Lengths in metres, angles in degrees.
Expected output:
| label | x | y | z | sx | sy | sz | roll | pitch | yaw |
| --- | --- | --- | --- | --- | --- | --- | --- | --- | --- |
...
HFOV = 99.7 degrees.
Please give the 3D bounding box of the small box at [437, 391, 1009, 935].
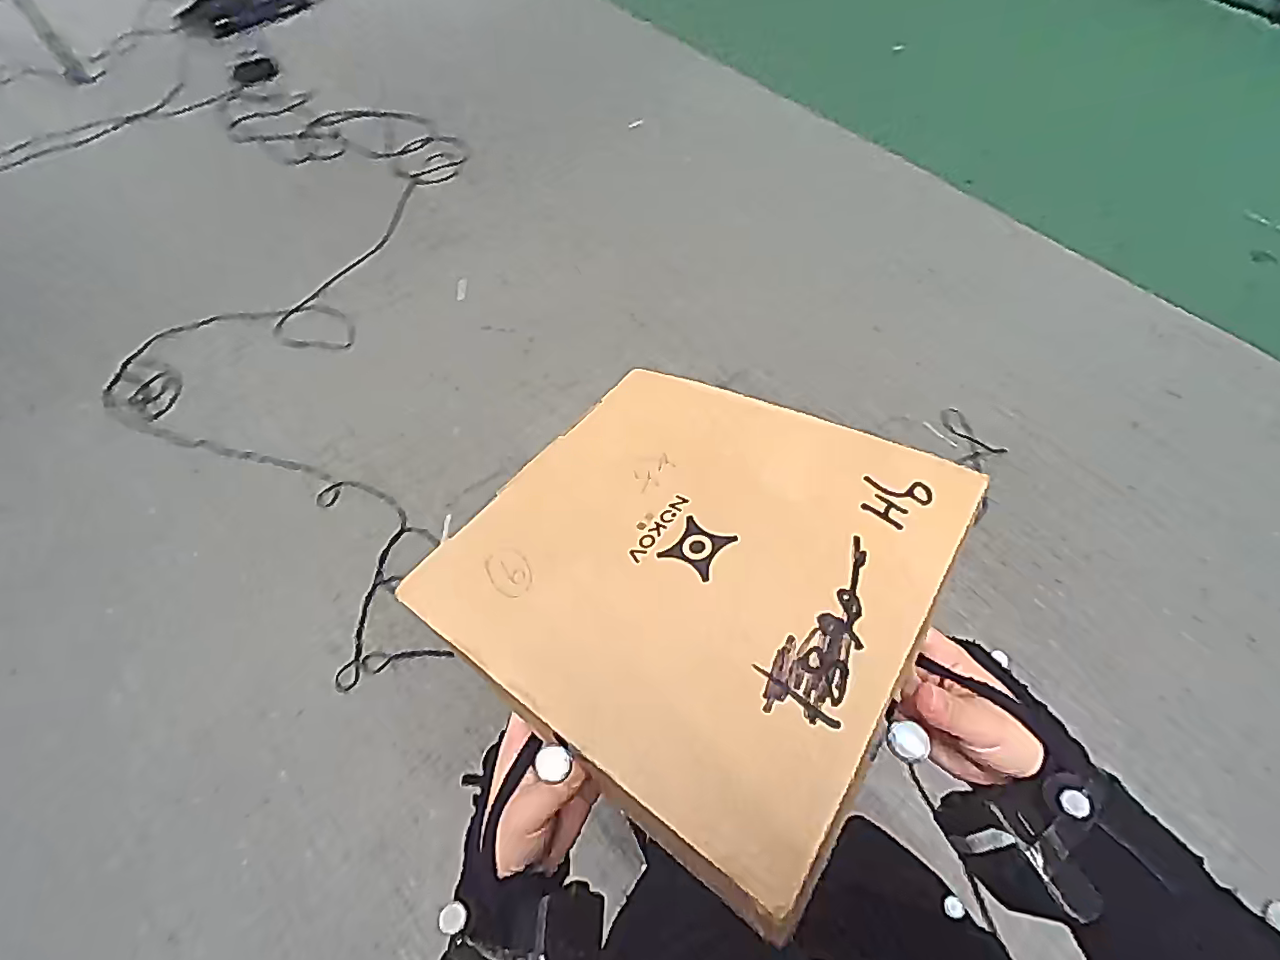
| label | x | y | z | sx | sy | sz | roll | pitch | yaw |
| --- | --- | --- | --- | --- | --- | --- | --- | --- | --- |
| small box | 0.042 | 0.086 | 0.274 | 0.179 | 0.176 | 0.168 | 24 | 58 | 32 |
